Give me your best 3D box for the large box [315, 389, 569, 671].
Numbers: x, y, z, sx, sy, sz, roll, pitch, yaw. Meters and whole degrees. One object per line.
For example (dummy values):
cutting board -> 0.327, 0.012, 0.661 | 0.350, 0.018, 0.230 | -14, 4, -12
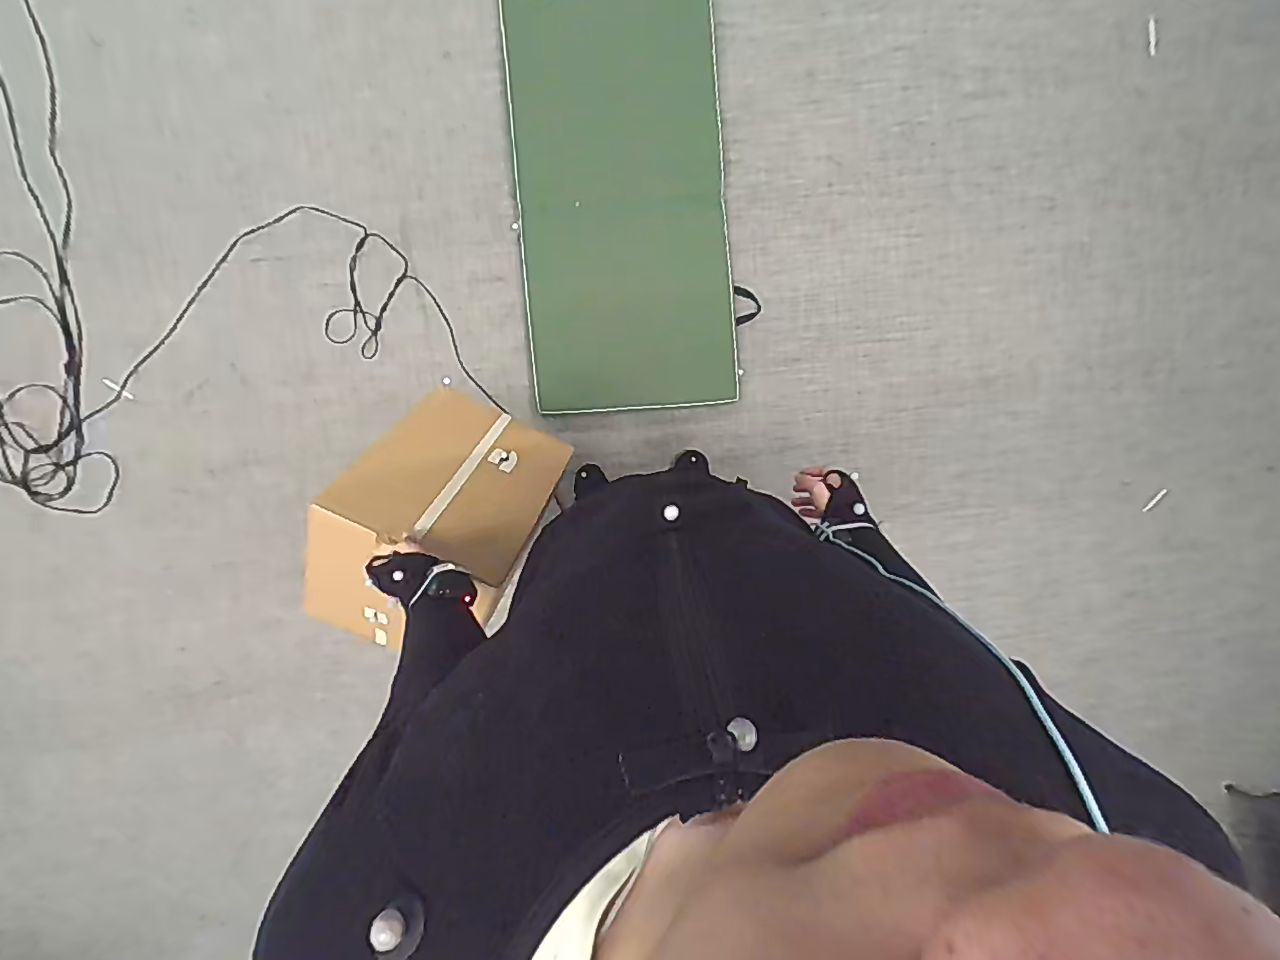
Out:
large box -> -0.381, 0.093, 1.081 | 0.320, 0.408, 0.320 | 26, 128, -6
